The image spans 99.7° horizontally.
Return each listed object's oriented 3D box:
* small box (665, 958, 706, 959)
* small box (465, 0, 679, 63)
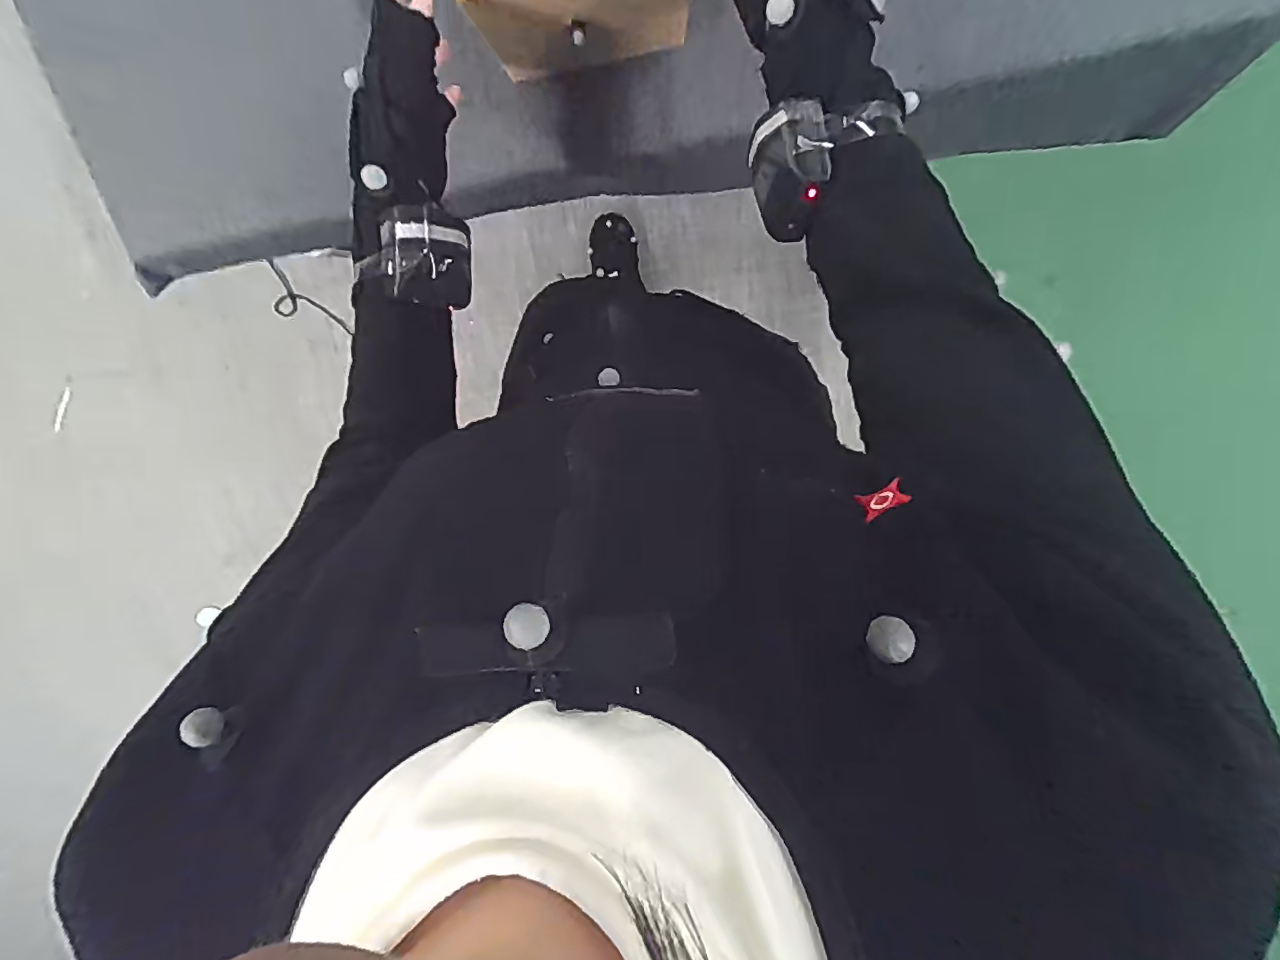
[{"bbox_3d":[0.154,1.823,1.899,0.179,0.176,0.168,-4,111,4],"label":"small box"},{"bbox_3d":[-0.058,-0.468,0.428,0.179,0.176,0.168,-6,108,4],"label":"small box"}]
